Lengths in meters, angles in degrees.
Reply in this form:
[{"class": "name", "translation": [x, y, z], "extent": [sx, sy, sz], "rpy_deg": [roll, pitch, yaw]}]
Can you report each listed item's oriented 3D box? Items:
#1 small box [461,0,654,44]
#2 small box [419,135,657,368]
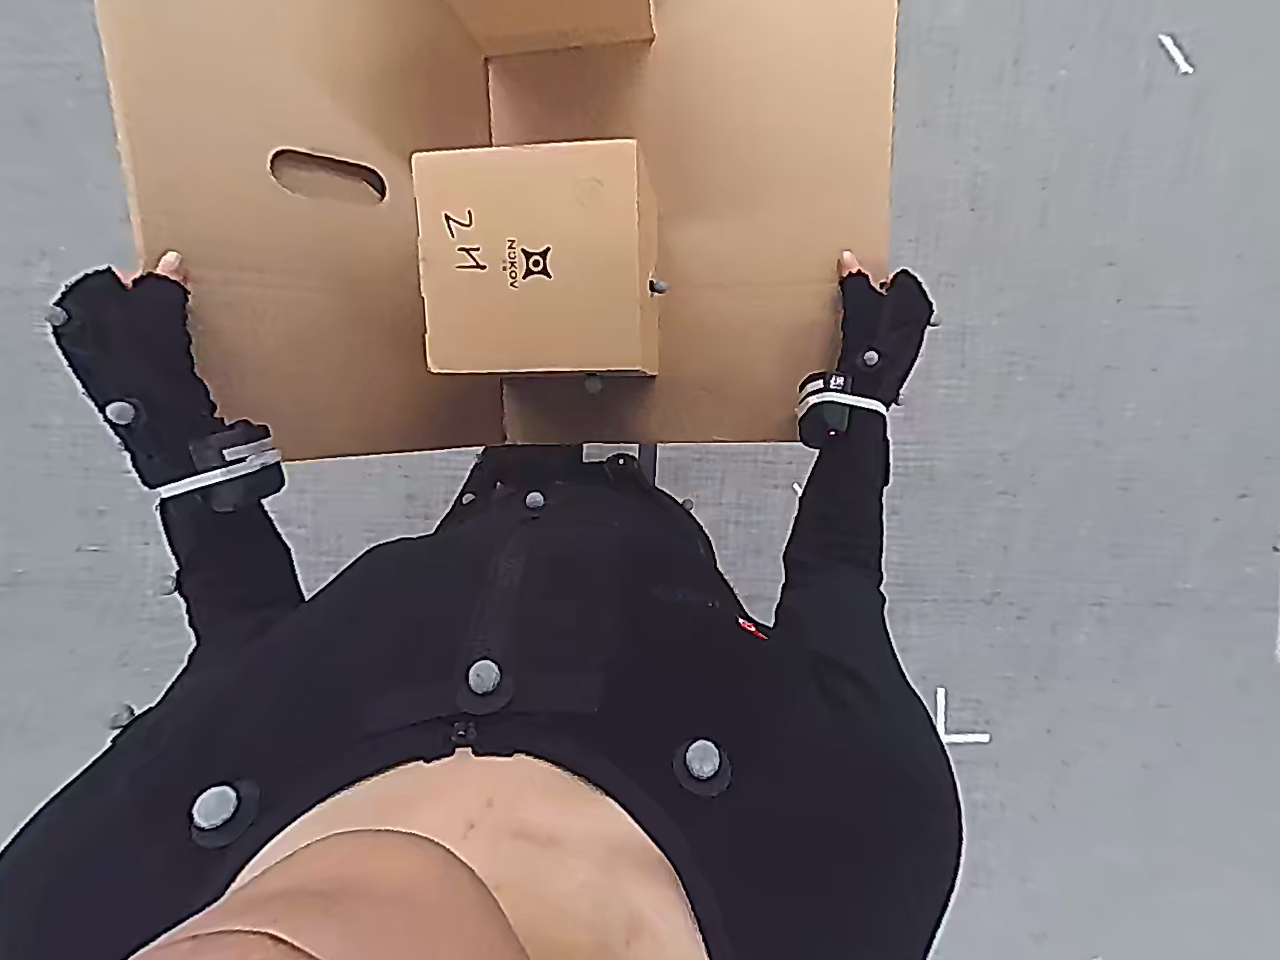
[{"class": "small box", "translation": [-0.085, -0.506, 0.450], "extent": [0.179, 0.176, 0.168], "rpy_deg": [-1, 100, 6]}, {"class": "small box", "translation": [-0.077, -0.192, 0.501], "extent": [0.179, 0.176, 0.168], "rpy_deg": [1, 100, 7]}]
